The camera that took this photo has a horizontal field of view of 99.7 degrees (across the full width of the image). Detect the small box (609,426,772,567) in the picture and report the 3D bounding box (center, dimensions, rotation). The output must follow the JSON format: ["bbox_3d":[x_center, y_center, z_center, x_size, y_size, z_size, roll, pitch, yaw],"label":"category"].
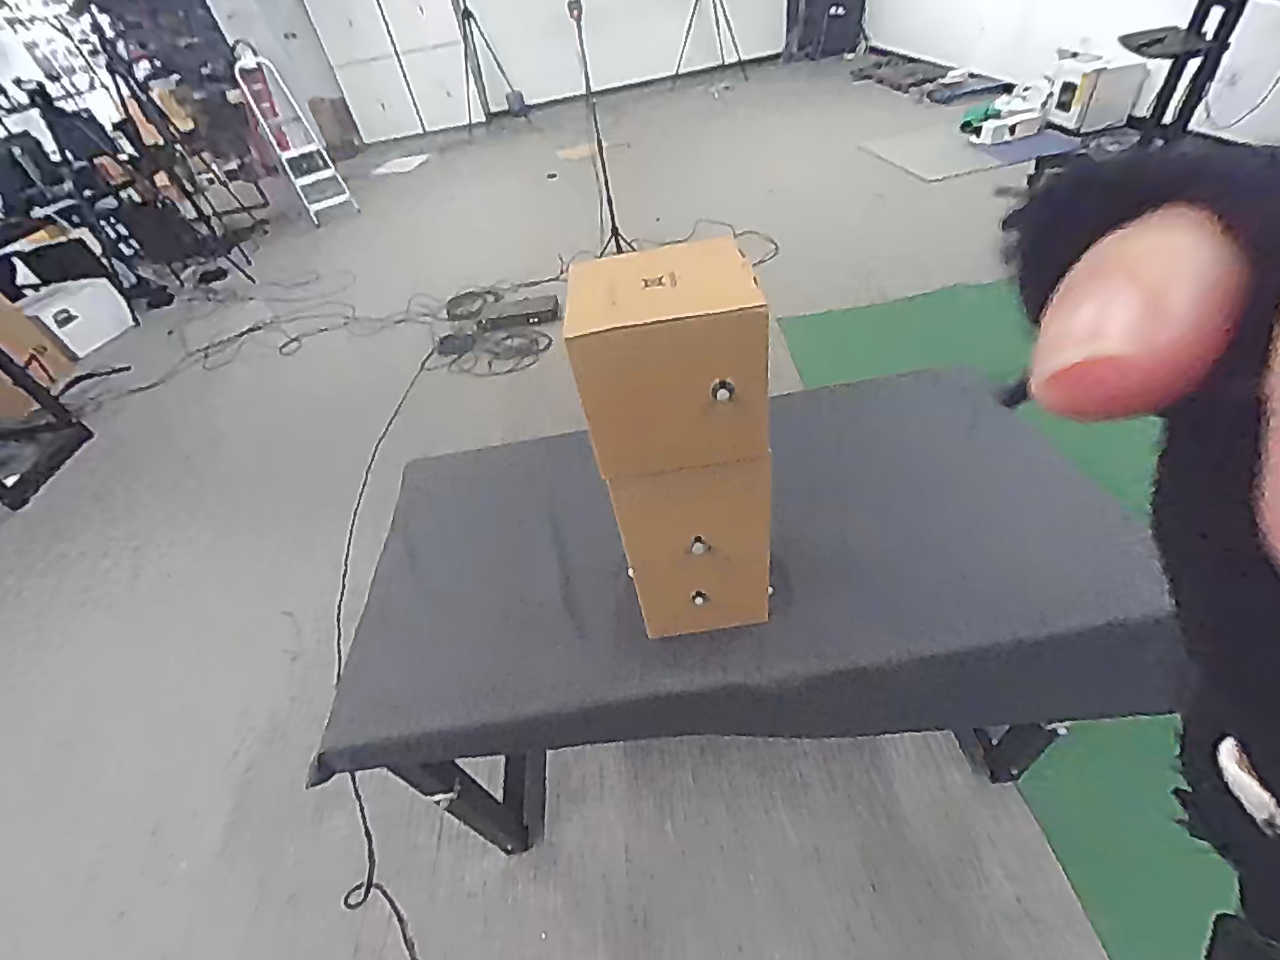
[{"bbox_3d":[0.057,-0.013,0.678,0.179,0.176,0.168,-11,45,2],"label":"small box"}]

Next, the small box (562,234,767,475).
[{"bbox_3d":[0.029,-0.127,0.562,0.179,0.176,0.168,-10,42,5],"label":"small box"}]

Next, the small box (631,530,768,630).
[{"bbox_3d":[0.082,0.098,0.792,0.179,0.176,0.168,-10,43,4],"label":"small box"}]
